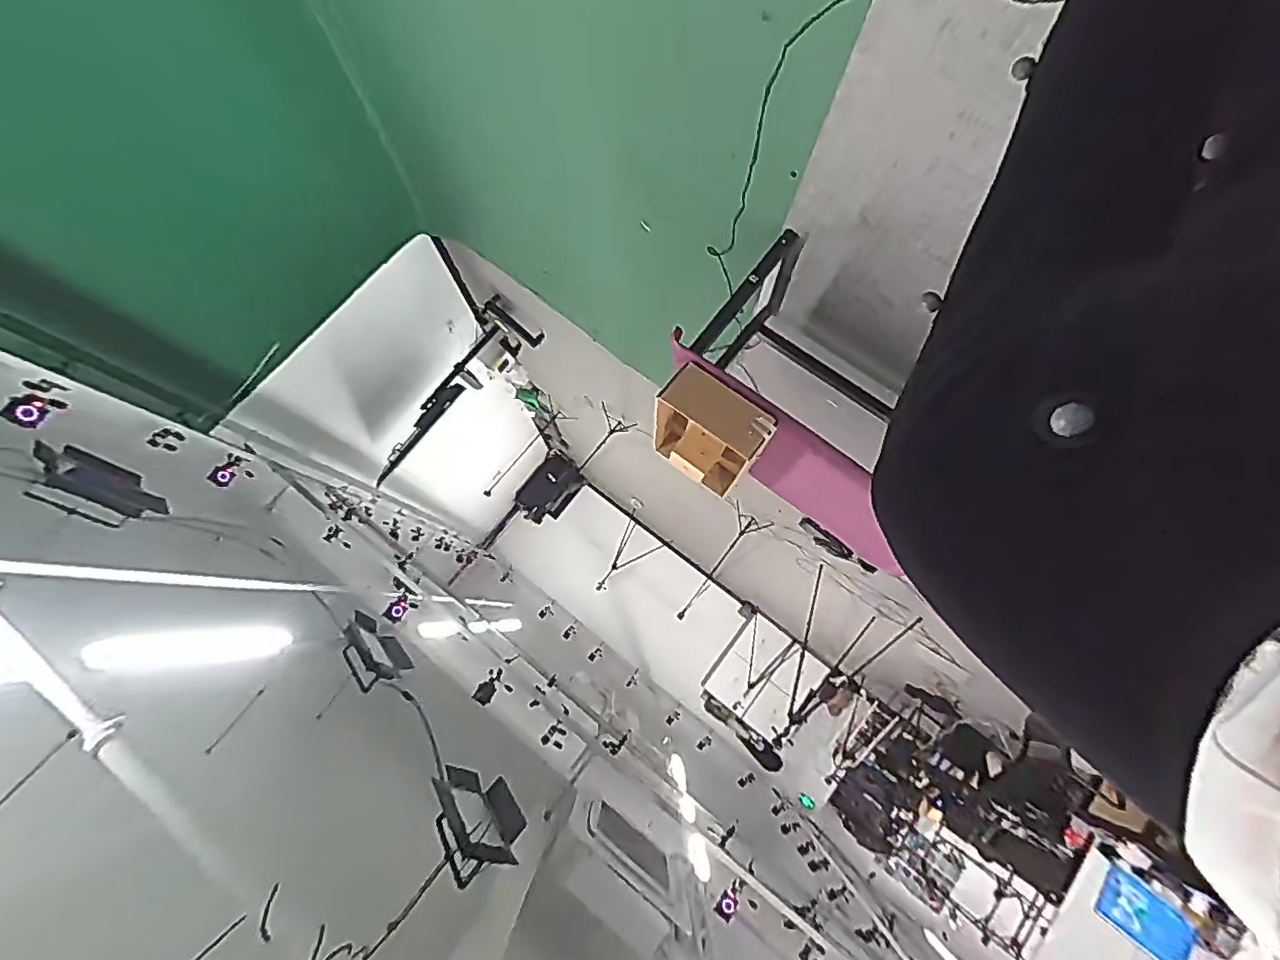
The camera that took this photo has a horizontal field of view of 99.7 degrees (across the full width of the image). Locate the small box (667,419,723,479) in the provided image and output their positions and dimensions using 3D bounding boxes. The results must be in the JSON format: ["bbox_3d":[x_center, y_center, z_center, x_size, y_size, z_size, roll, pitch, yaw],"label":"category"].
[{"bbox_3d":[0.233,-0.131,2.284,0.168,0.176,0.179,35,168,6],"label":"small box"}]
